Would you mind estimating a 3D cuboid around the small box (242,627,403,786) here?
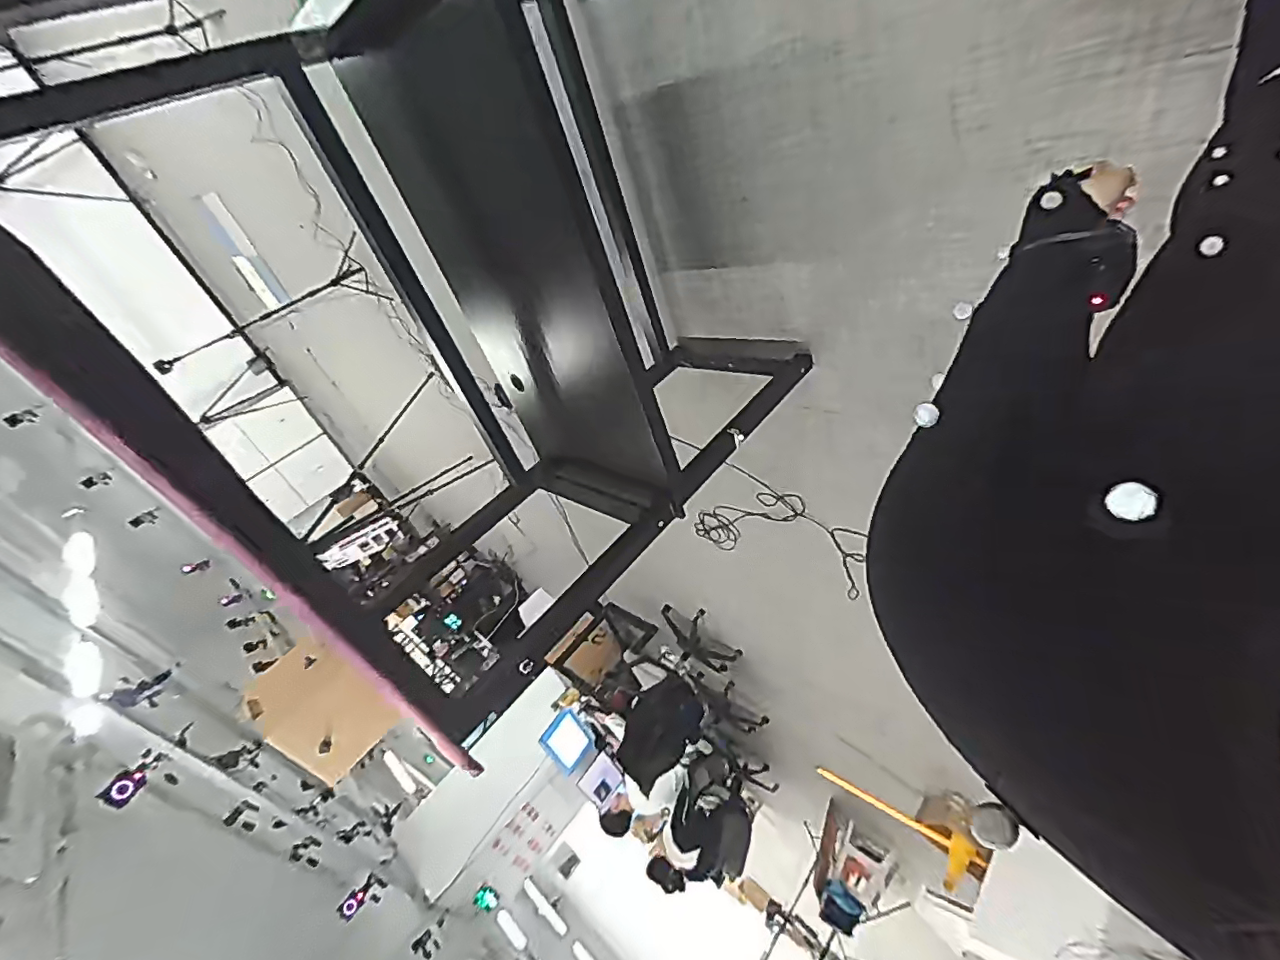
[{"bbox_3d":[-0.577,0.410,0.998,0.168,0.176,0.179,16,139,42],"label":"small box"}]
